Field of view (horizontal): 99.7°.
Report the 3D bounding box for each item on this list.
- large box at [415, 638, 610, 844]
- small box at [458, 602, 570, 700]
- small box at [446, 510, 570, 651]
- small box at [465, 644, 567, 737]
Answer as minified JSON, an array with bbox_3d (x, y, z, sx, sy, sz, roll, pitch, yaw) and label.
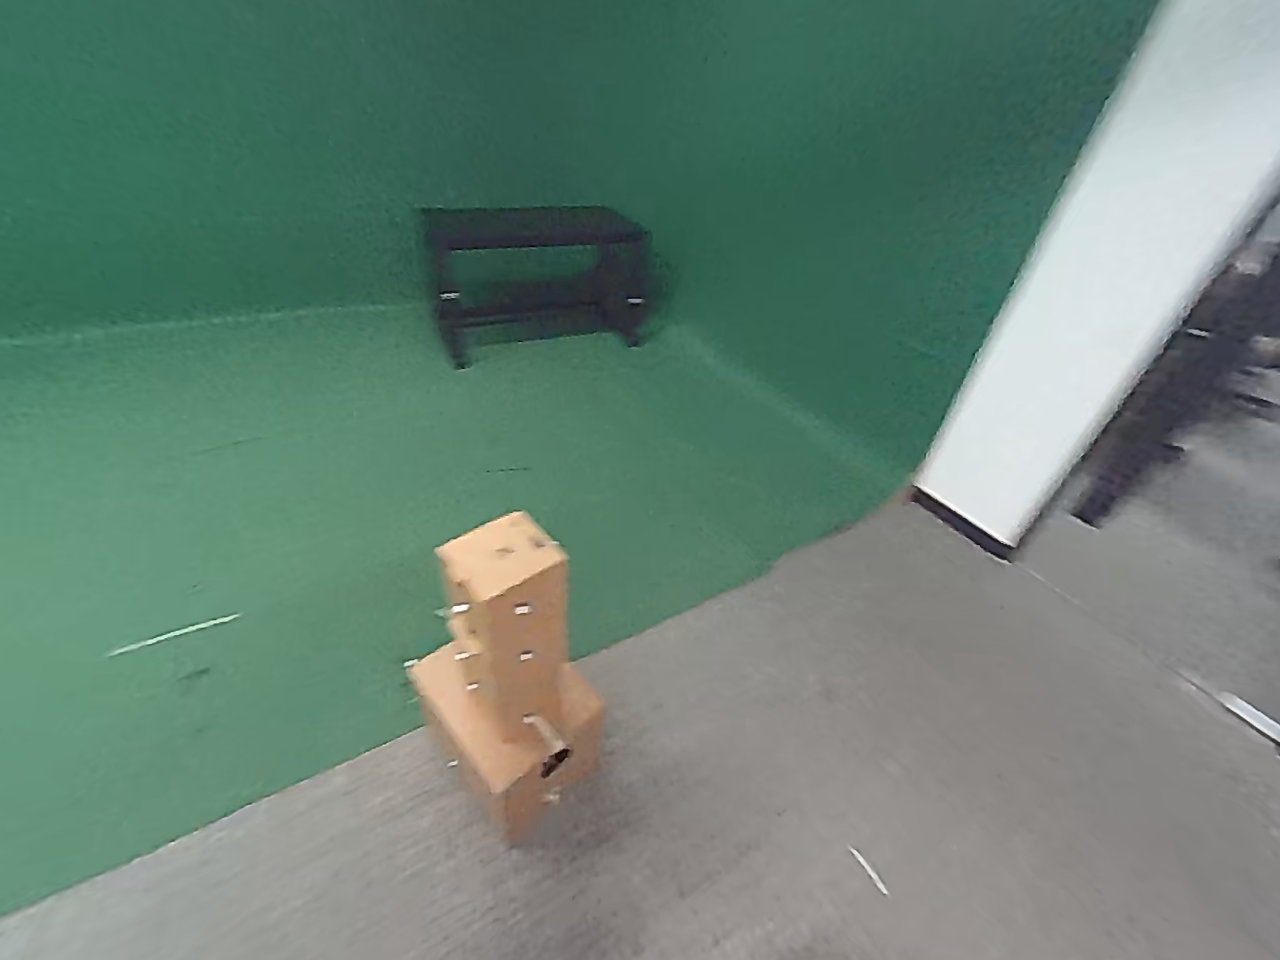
[{"bbox_3d":[-0.325,0.630,1.421,0.320,0.320,0.408,-28,48,-37],"label":"large box"},{"bbox_3d":[-0.261,0.328,1.151,0.179,0.176,0.168,-25,48,-32],"label":"small box"},{"bbox_3d":[-0.248,0.197,1.053,0.179,0.176,0.168,-27,49,-32],"label":"small box"},{"bbox_3d":[-0.284,0.452,1.256,0.168,0.176,0.179,-26,49,-33],"label":"small box"}]
